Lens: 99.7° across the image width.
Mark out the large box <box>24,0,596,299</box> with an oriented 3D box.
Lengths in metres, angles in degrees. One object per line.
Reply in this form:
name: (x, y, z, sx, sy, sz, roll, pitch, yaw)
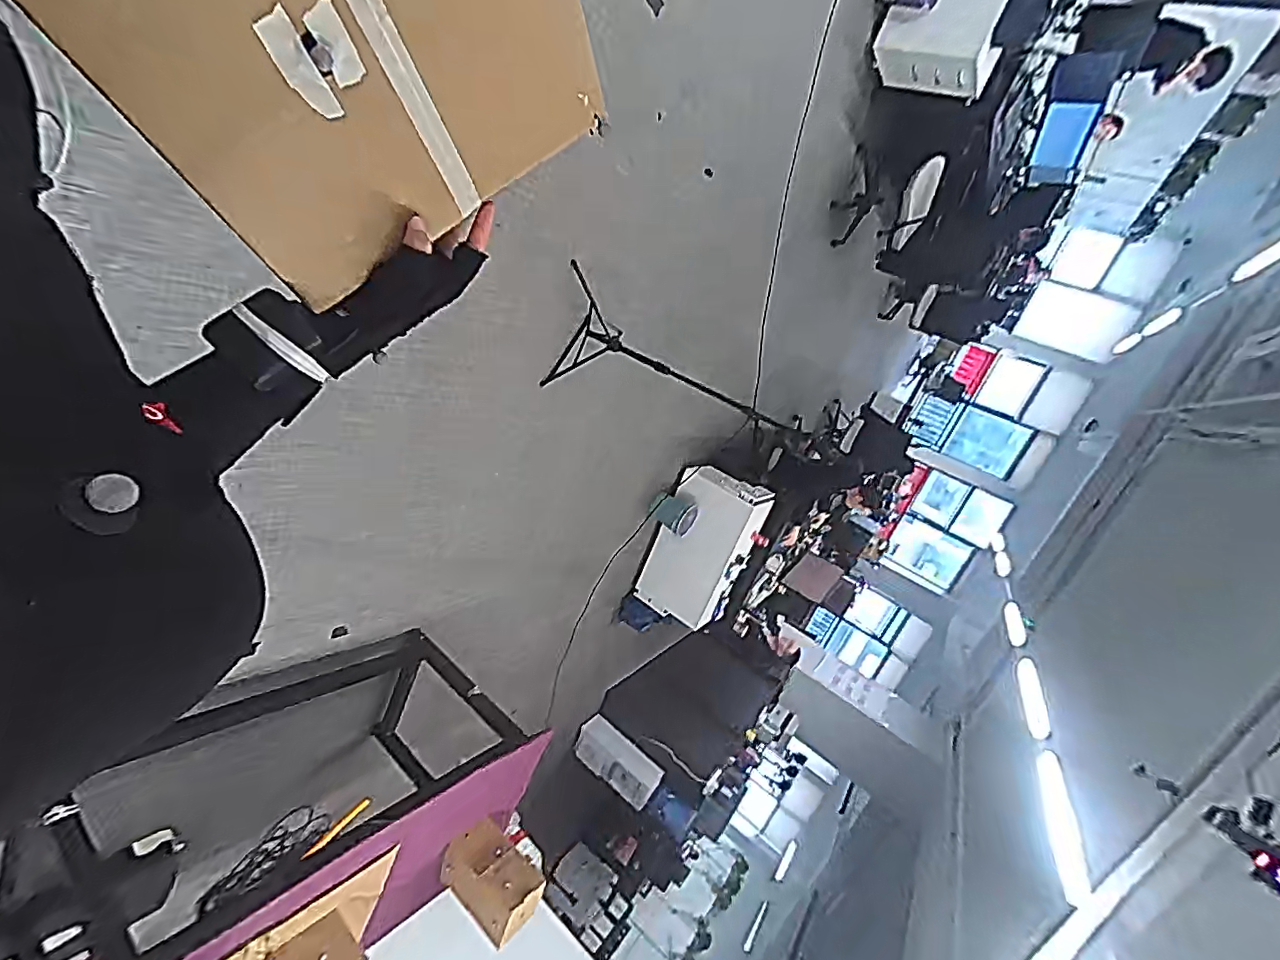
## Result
large box: (-0.287, -0.427, 0.378, 0.320, 0.320, 0.408, -39, 150, -10)
